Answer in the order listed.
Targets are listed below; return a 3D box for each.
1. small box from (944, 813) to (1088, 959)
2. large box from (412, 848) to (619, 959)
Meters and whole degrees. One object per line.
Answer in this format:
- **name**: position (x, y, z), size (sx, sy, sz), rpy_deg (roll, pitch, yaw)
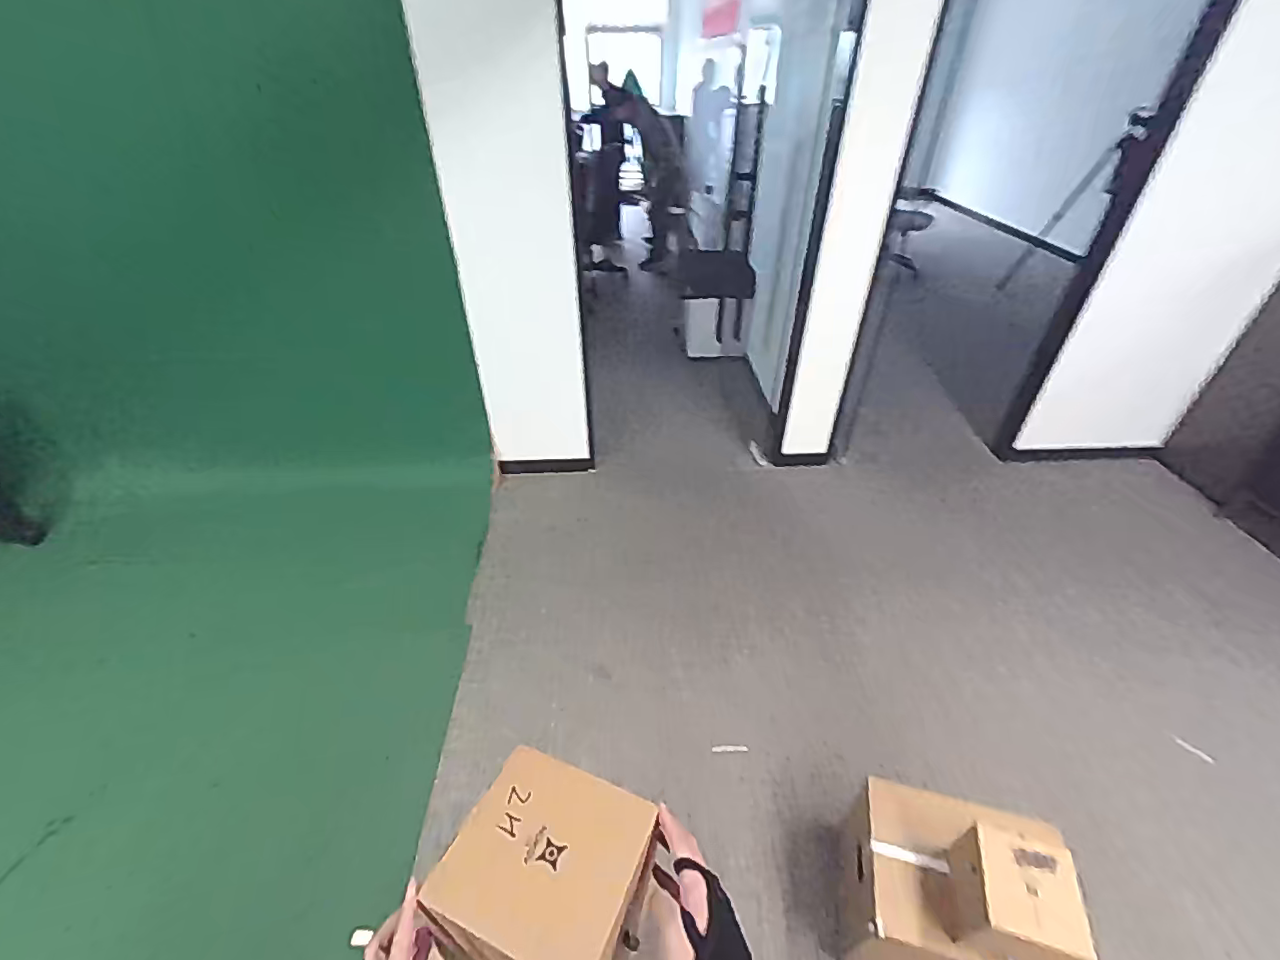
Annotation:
- **small box**: position (0.707, 0.791, 1.044), size (0.168, 0.176, 0.179), rpy_deg (12, 42, 14)
- **large box**: position (-0.247, 1.067, 1.090), size (0.408, 0.320, 0.320), rpy_deg (-25, 44, -26)
